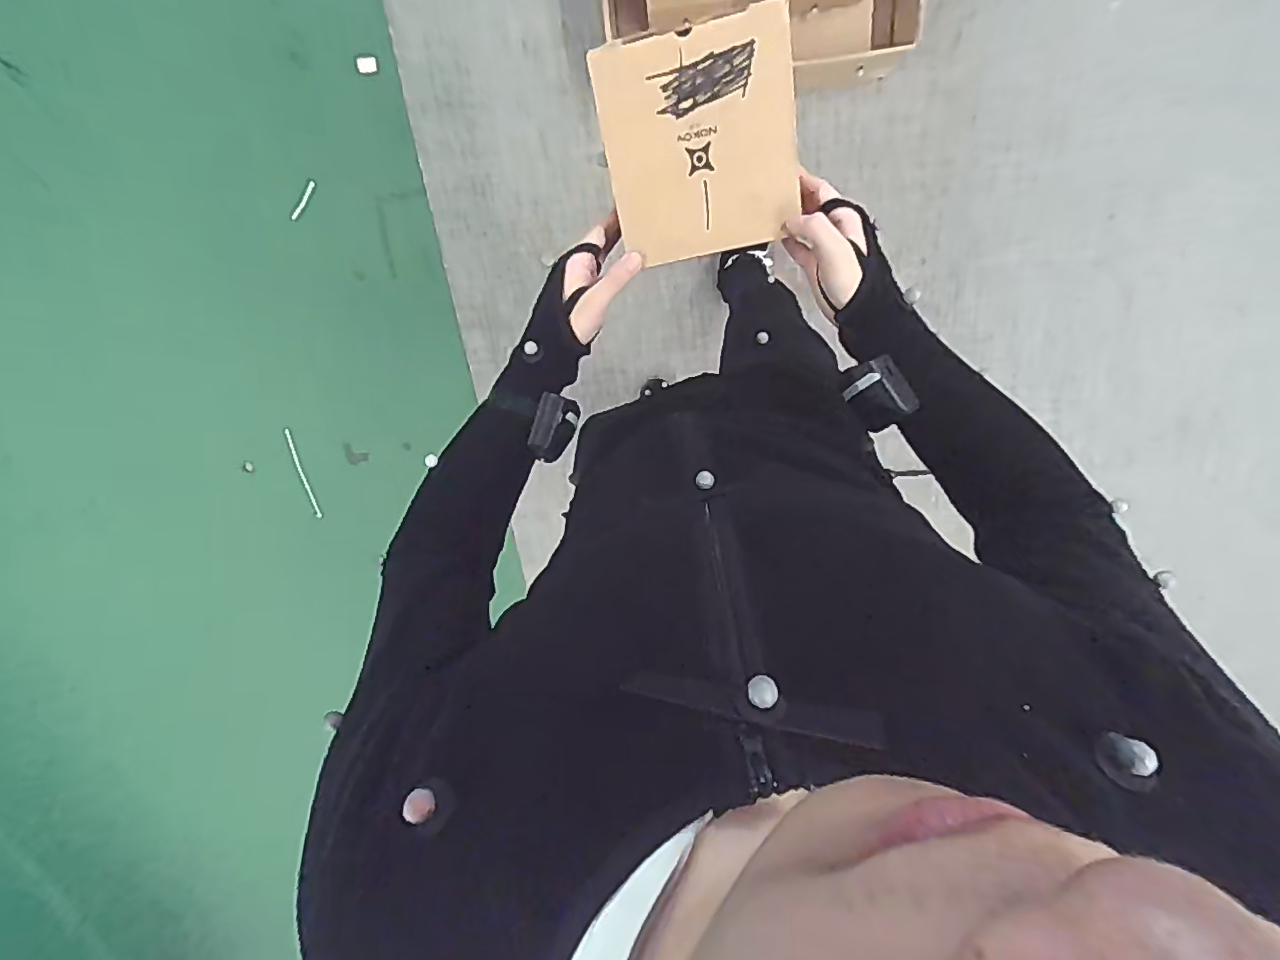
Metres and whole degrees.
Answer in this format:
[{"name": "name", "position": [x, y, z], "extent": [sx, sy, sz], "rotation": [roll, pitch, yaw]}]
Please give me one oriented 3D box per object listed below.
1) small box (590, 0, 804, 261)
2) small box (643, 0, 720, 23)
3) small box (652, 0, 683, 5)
[{"name": "small box", "position": [0.058, -0.327, 0.535], "extent": [0.168, 0.176, 0.179], "rotation": [-9, 115, 9]}, {"name": "small box", "position": [0.087, -1.015, 1.066], "extent": [0.168, 0.176, 0.179], "rotation": [-4, 113, 5]}, {"name": "small box", "position": [0.080, -0.950, 0.919], "extent": [0.168, 0.176, 0.179], "rotation": [-4, 113, 6]}]
